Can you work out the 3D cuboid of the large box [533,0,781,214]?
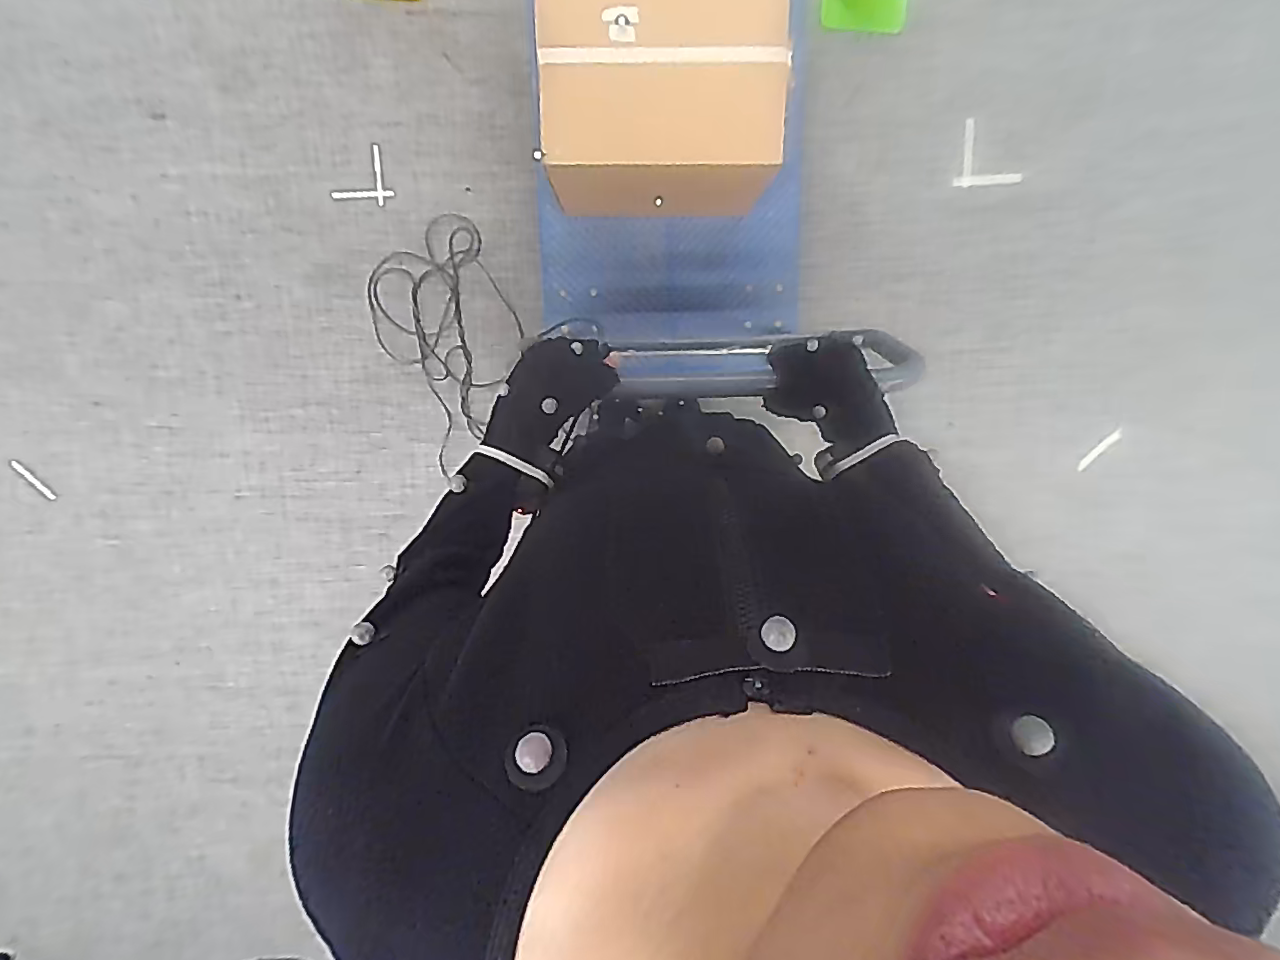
[{"bbox_3d":[0.031,-0.709,1.022,0.408,0.320,0.320,-1,101,0],"label":"large box"}]

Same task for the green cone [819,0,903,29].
[{"bbox_3d":[0.530,-1.141,1.095,0.202,0.368,0.200,3,101,-3],"label":"green cone"}]
